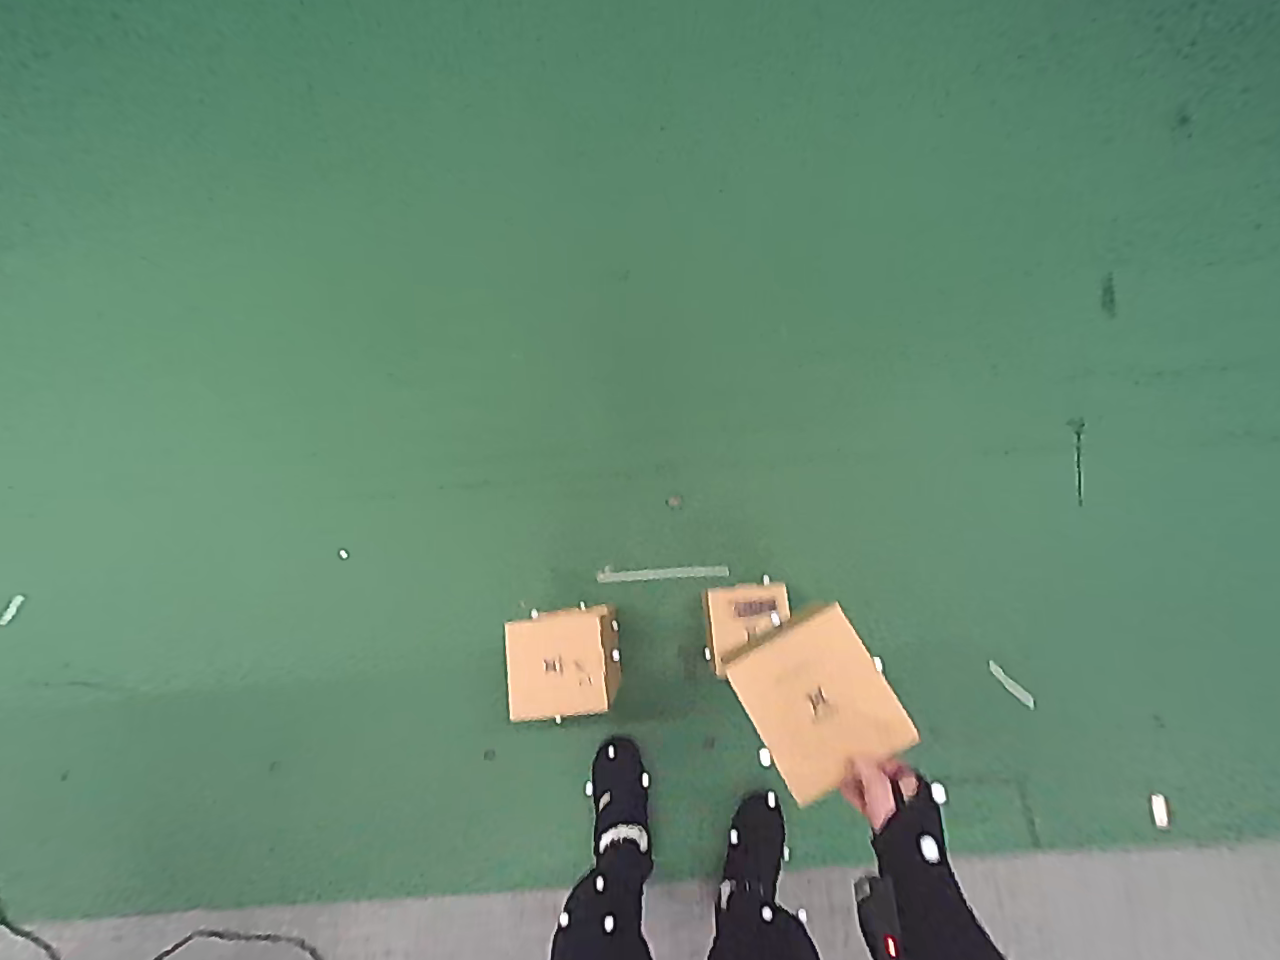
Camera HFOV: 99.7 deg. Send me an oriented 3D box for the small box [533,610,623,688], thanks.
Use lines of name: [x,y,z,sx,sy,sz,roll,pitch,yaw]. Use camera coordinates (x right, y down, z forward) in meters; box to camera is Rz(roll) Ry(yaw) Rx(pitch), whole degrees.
small box: [-0.131,0.382,1.189,0.168,0.176,0.179,-6,76,1]

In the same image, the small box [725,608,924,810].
small box: [0.225,0.282,0.711,0.168,0.176,0.179,-29,76,0]

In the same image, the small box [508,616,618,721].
small box: [-0.141,0.350,1.028,0.179,0.176,0.168,-6,77,1]
